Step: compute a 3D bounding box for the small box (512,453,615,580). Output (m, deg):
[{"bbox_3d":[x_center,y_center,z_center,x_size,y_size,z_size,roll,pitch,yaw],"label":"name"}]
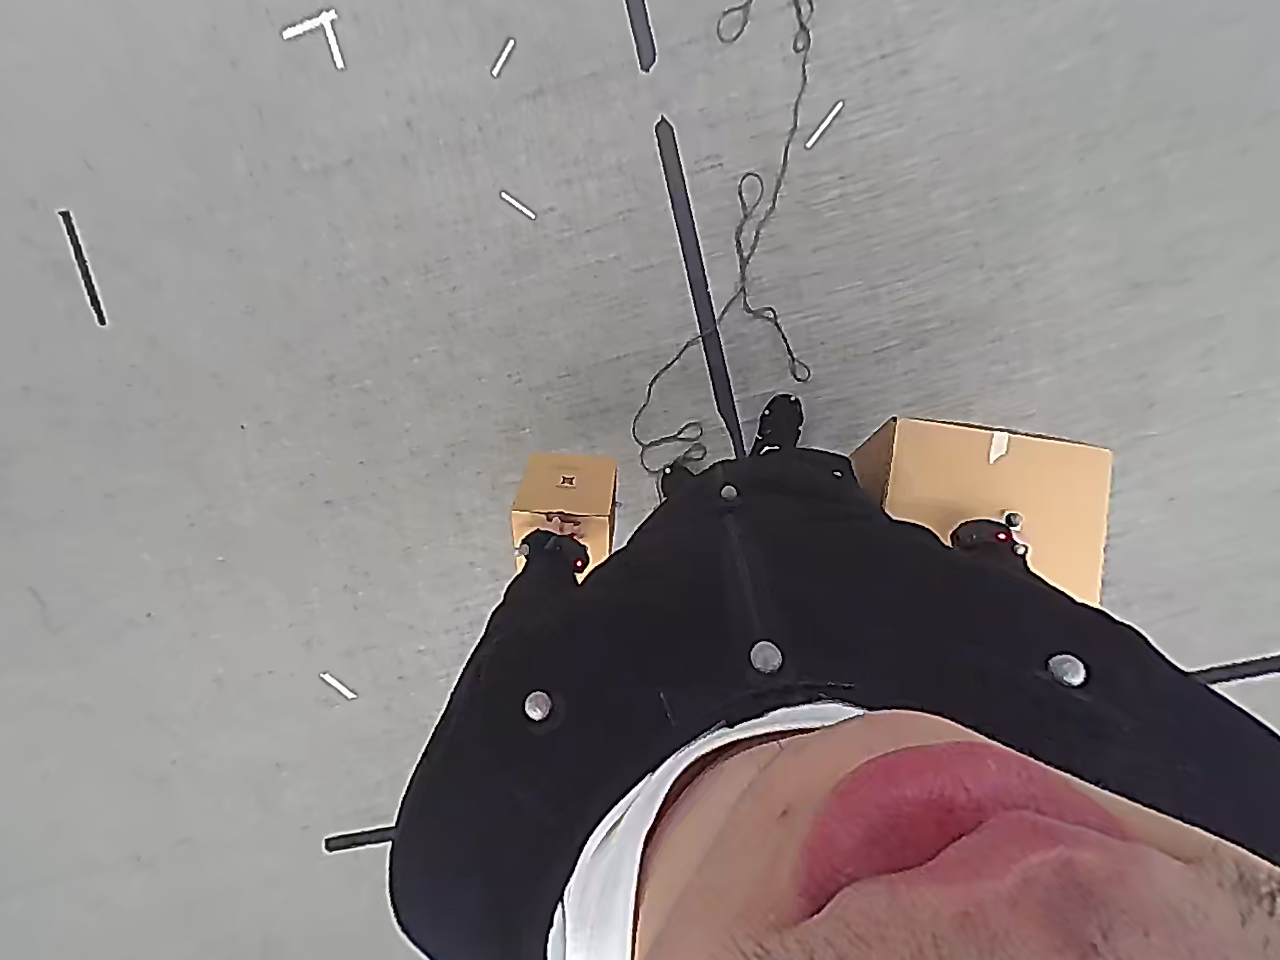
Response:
[{"bbox_3d":[-0.134,0.069,1.012,0.168,0.179,0.176,4,126,-1],"label":"small box"}]
